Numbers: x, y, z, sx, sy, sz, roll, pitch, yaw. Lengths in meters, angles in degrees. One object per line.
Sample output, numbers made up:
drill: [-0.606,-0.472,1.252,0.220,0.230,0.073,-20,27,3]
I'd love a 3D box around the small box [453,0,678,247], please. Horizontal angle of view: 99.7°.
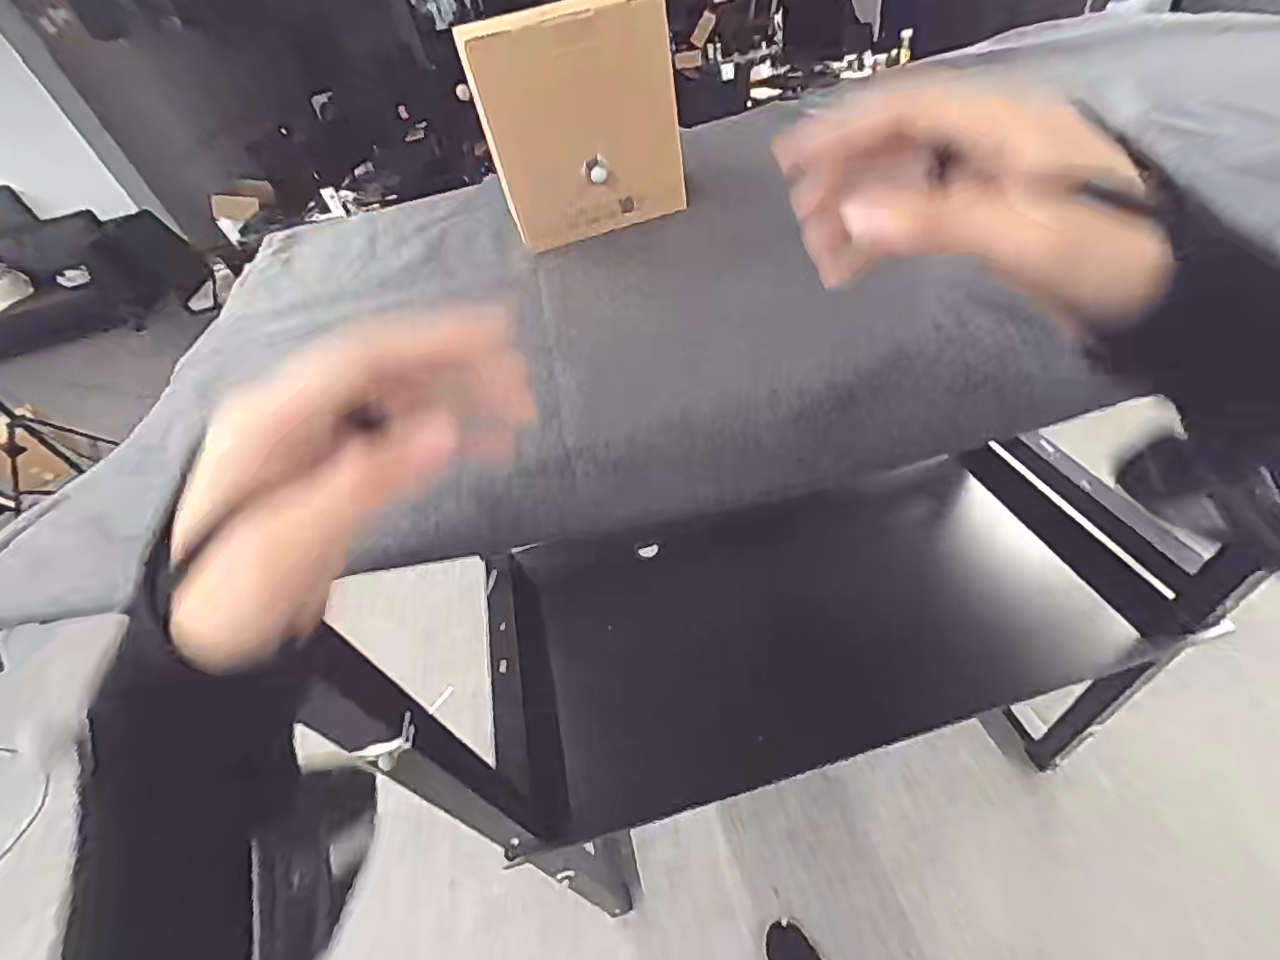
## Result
small box: [-0.071,-0.356,0.536,0.168,0.176,0.179,-19,45,-5]
